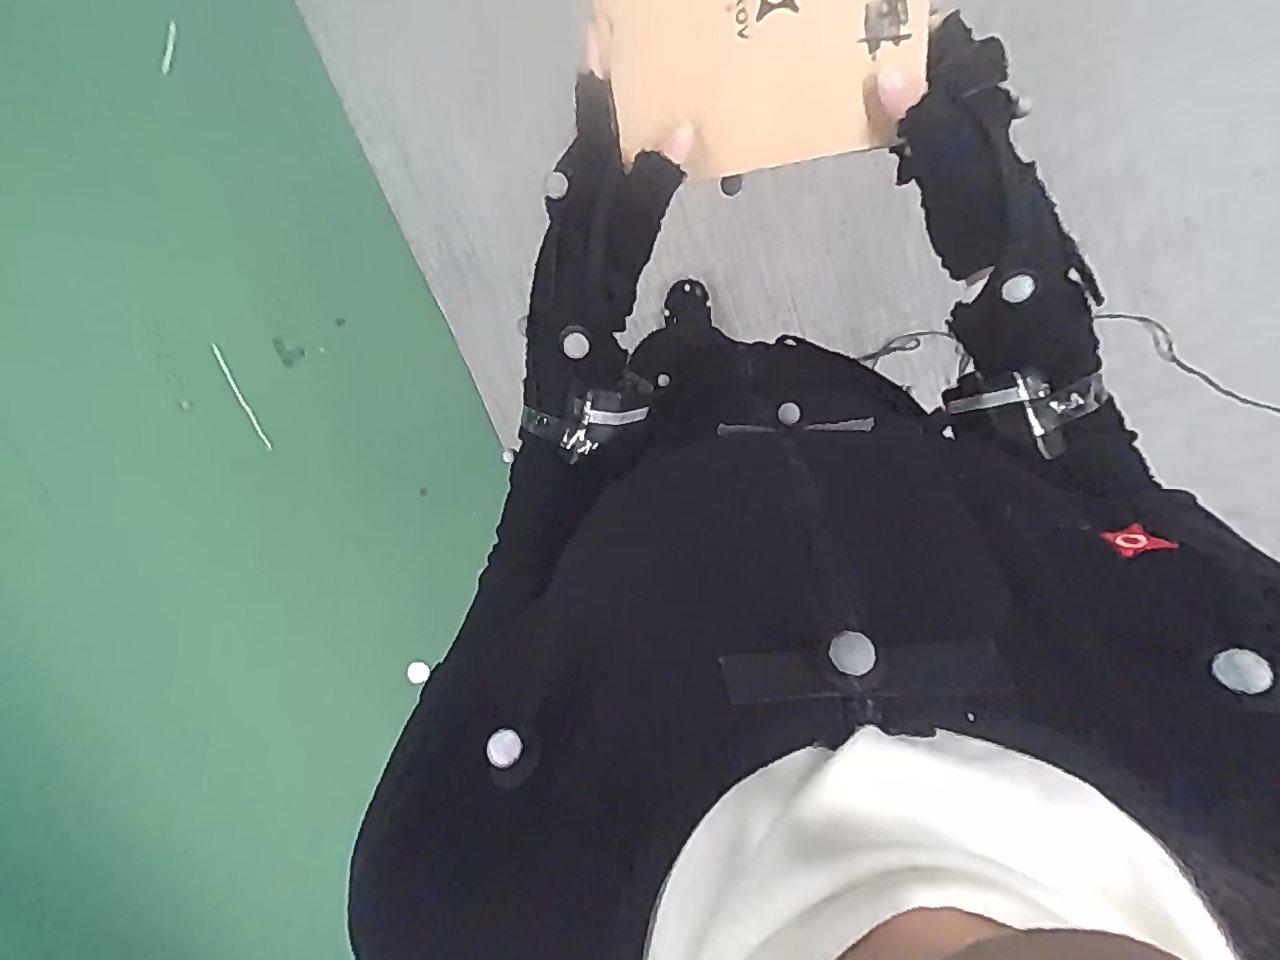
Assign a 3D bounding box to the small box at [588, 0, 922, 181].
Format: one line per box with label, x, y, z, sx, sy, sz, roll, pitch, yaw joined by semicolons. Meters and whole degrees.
small box;0.063;-0.307;0.354;0.179;0.176;0.168;-9;116;9
